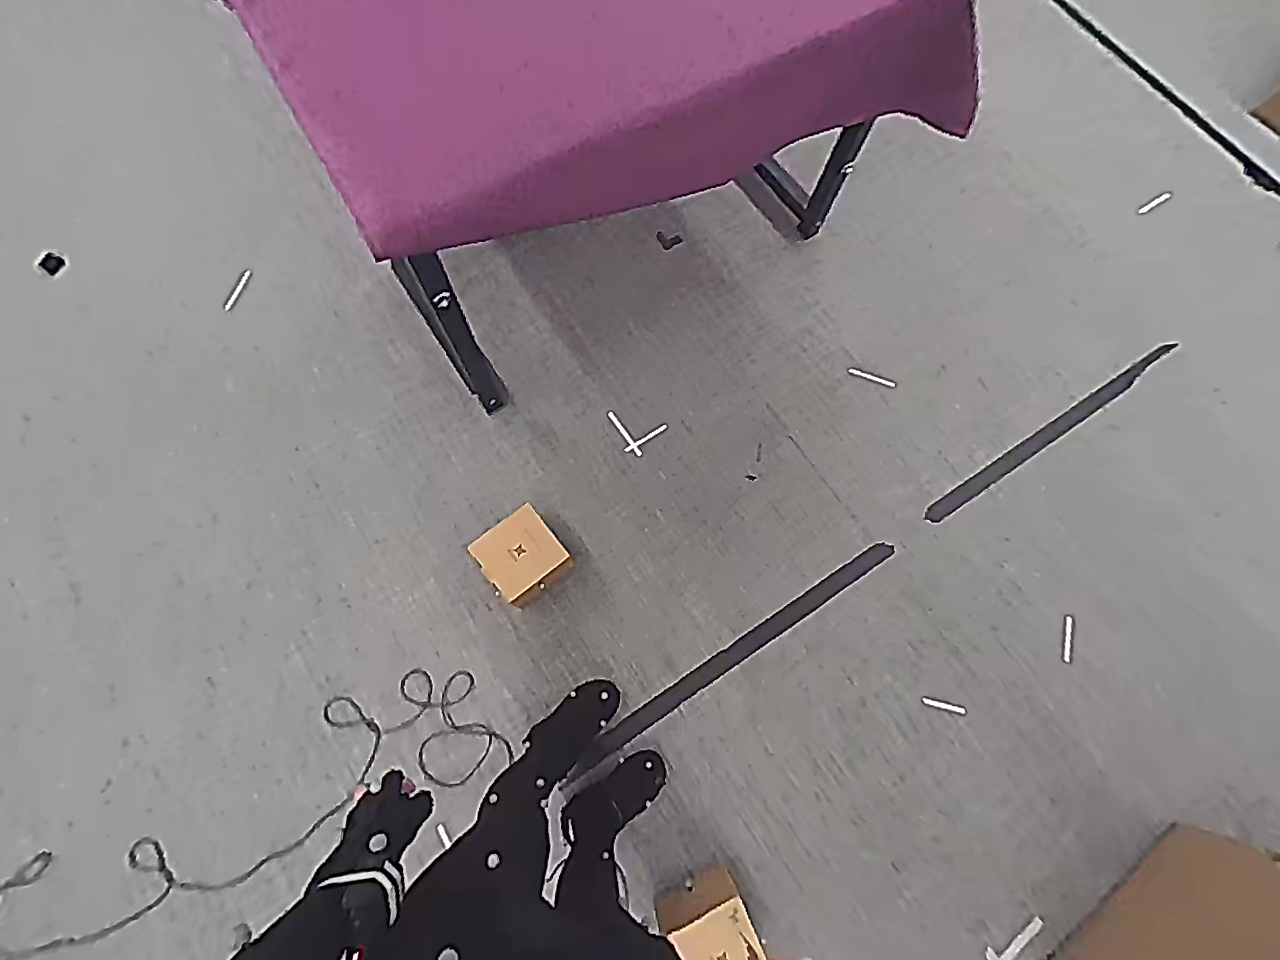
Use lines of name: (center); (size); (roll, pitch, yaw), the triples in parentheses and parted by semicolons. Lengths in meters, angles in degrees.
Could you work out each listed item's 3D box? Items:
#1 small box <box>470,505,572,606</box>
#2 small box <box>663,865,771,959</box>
small box: (-0.279, 0.191, 1.316); (0.179, 0.176, 0.168); (-38, 80, -14)
small box: (0.156, 0.946, 1.115); (0.179, 0.176, 0.168); (-23, 76, -9)
